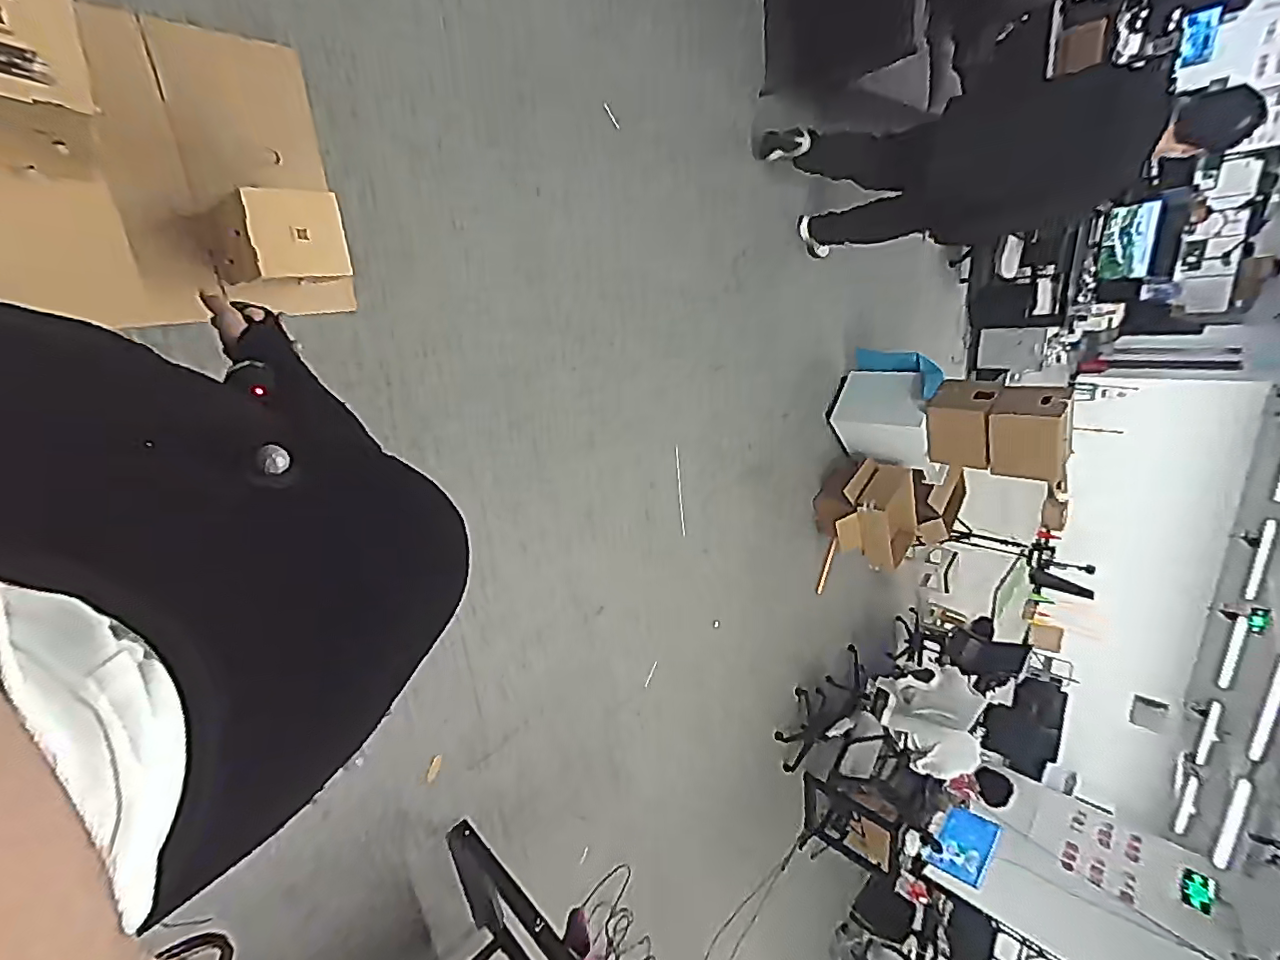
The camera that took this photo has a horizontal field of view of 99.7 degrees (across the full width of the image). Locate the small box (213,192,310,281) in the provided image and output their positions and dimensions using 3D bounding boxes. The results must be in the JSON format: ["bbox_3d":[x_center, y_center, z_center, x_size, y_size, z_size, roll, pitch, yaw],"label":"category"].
[{"bbox_3d":[-0.868,-0.559,1.263,0.179,0.176,0.168,-21,114,-41],"label":"small box"}]

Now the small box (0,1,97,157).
[{"bbox_3d":[-1.005,-0.637,0.860,0.179,0.176,0.168,-12,108,-44],"label":"small box"}]

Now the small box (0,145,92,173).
[{"bbox_3d":[-1.124,-0.671,0.970,0.179,0.176,0.168,-12,108,-44],"label":"small box"}]

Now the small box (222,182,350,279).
[{"bbox_3d":[-0.754,-0.524,1.154,0.179,0.176,0.168,-21,115,-39],"label":"small box"}]
